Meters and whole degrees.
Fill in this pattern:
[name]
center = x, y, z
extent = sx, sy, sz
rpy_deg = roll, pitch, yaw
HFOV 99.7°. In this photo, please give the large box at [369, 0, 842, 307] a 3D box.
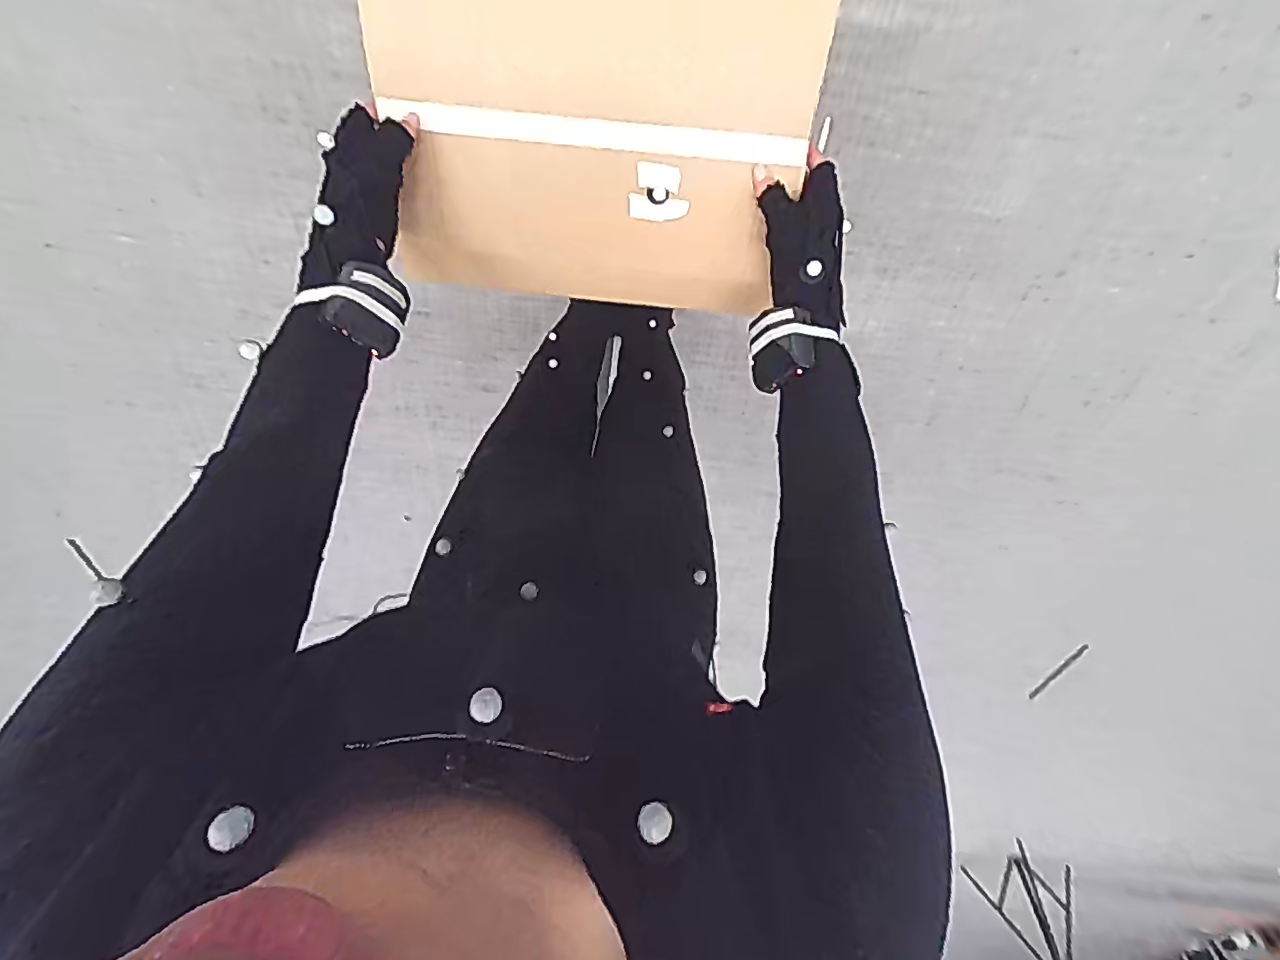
[large box]
center = -0.033, -0.411, 0.626
extent = 0.408, 0.320, 0.320
rpy_deg = 5, 125, -1
